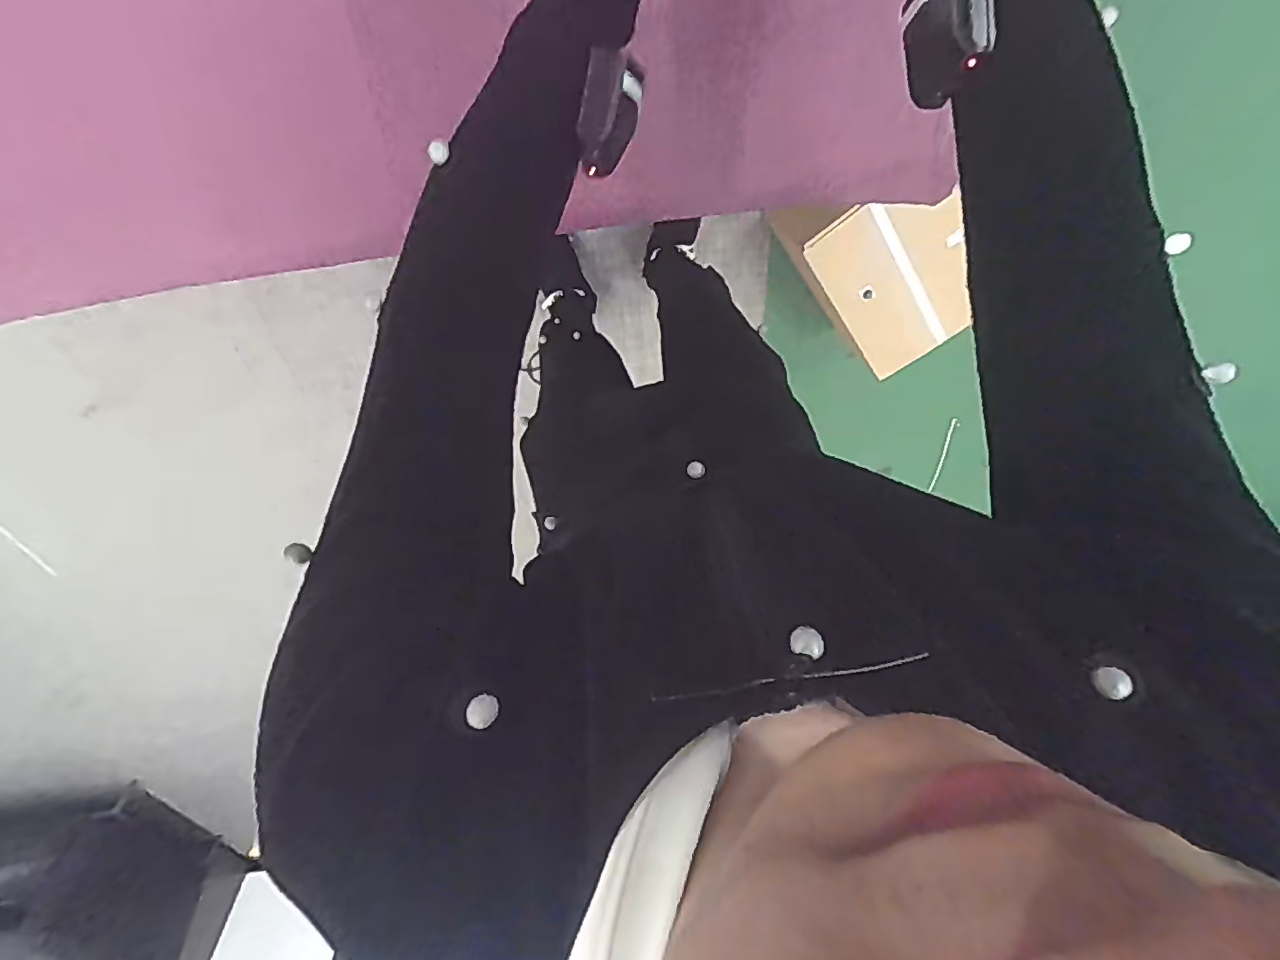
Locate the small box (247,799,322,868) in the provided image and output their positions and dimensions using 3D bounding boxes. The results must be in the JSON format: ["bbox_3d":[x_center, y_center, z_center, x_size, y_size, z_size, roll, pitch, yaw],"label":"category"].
[{"bbox_3d":[-1.348,1.343,2.059,0.168,0.176,0.179,31,120,-26],"label":"small box"}]
